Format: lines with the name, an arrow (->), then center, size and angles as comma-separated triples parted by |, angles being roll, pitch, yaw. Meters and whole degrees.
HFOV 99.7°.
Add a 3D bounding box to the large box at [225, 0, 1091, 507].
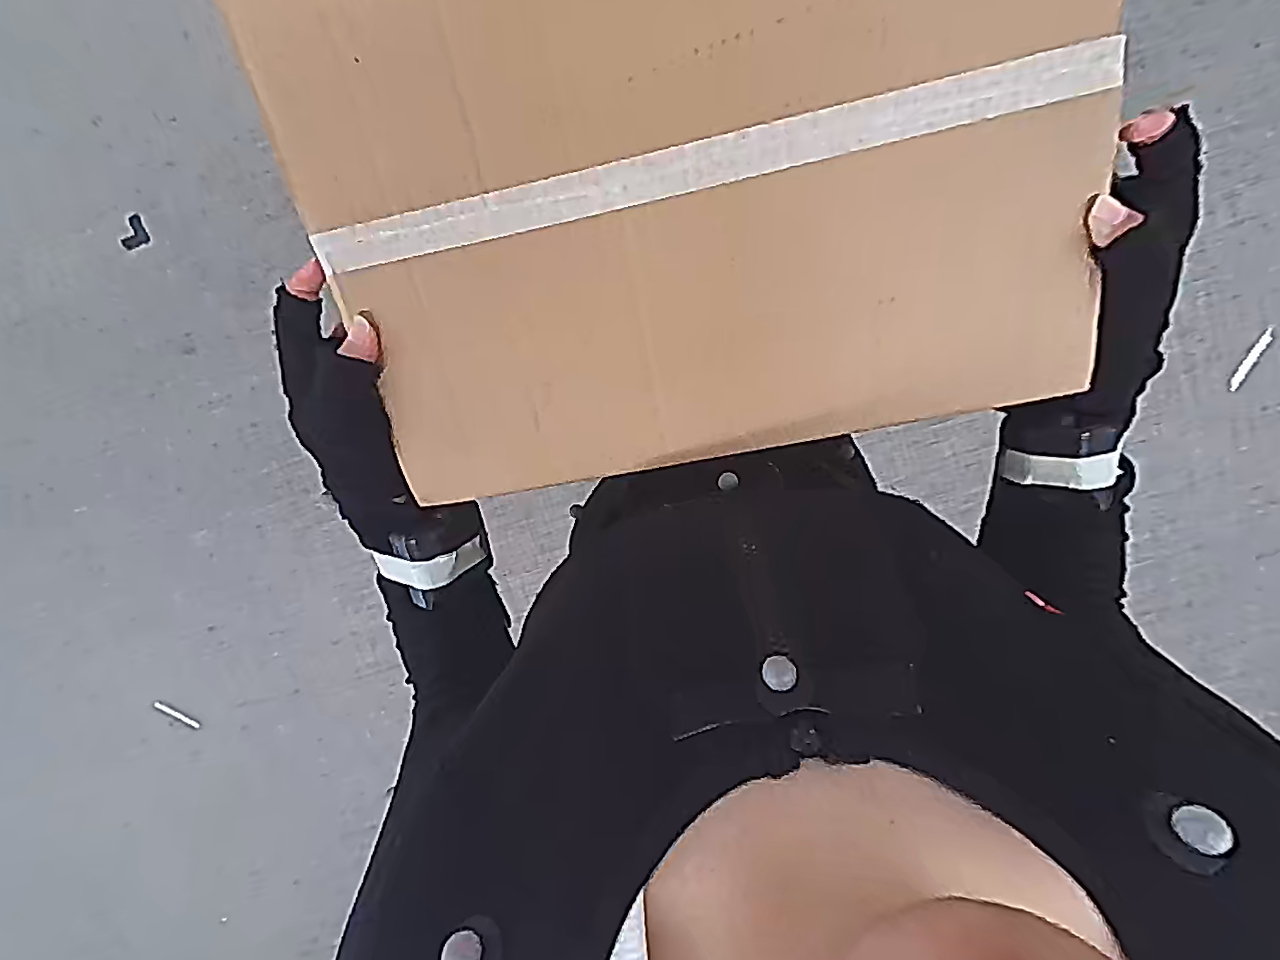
large box -> 0.026, -0.214, 0.421 | 0.408, 0.320, 0.320 | -10, 111, 6
